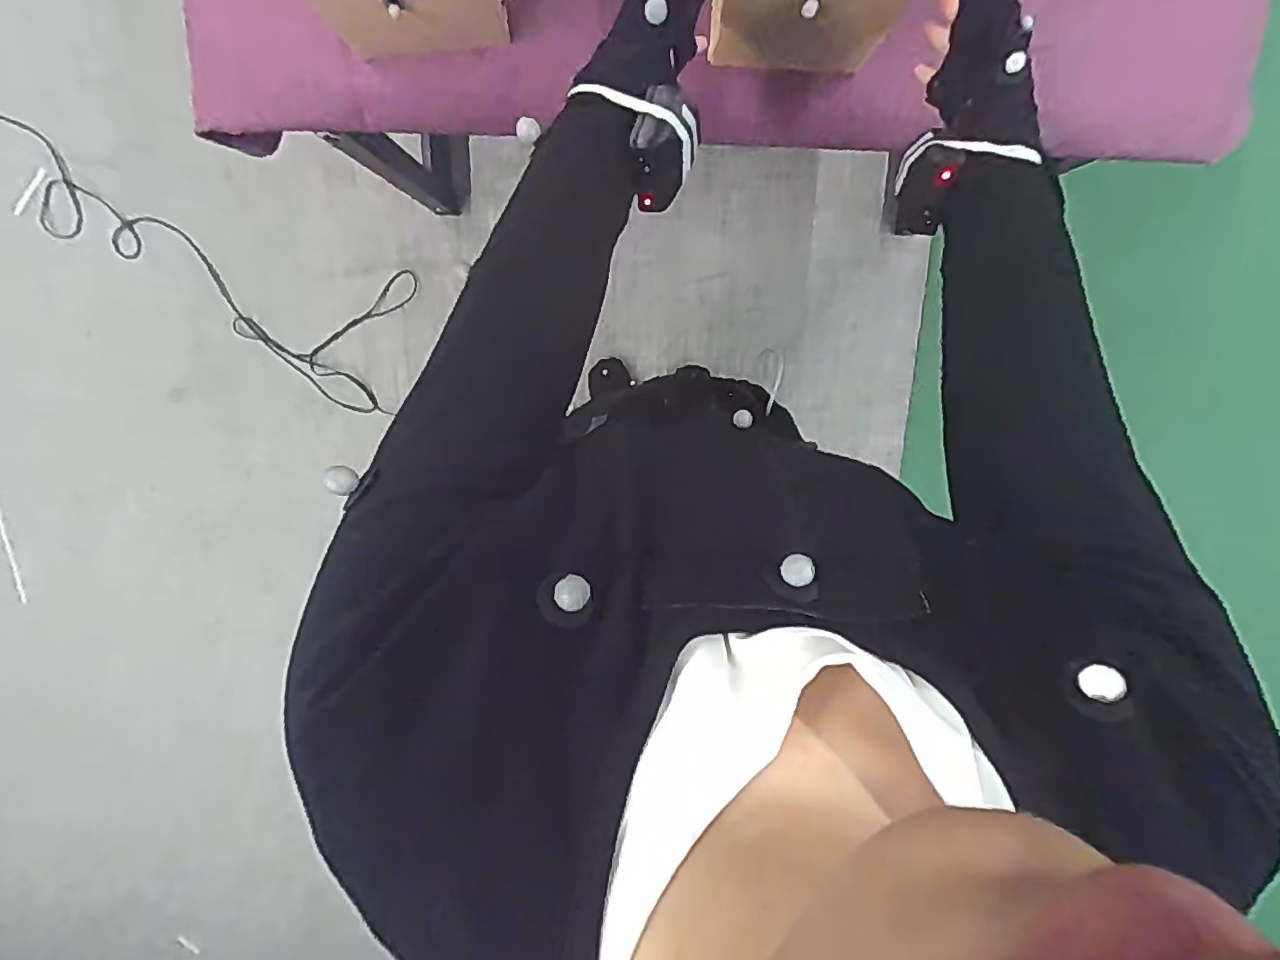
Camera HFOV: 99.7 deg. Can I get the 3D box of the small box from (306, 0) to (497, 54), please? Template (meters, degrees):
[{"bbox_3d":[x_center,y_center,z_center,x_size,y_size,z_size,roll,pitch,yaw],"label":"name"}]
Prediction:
[{"bbox_3d":[-0.245,-0.551,0.521,0.179,0.176,0.168,-4,103,0],"label":"small box"}]

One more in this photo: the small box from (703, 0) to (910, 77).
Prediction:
[{"bbox_3d":[0.166,-0.536,0.537,0.179,0.176,0.168,3,102,-1],"label":"small box"}]
